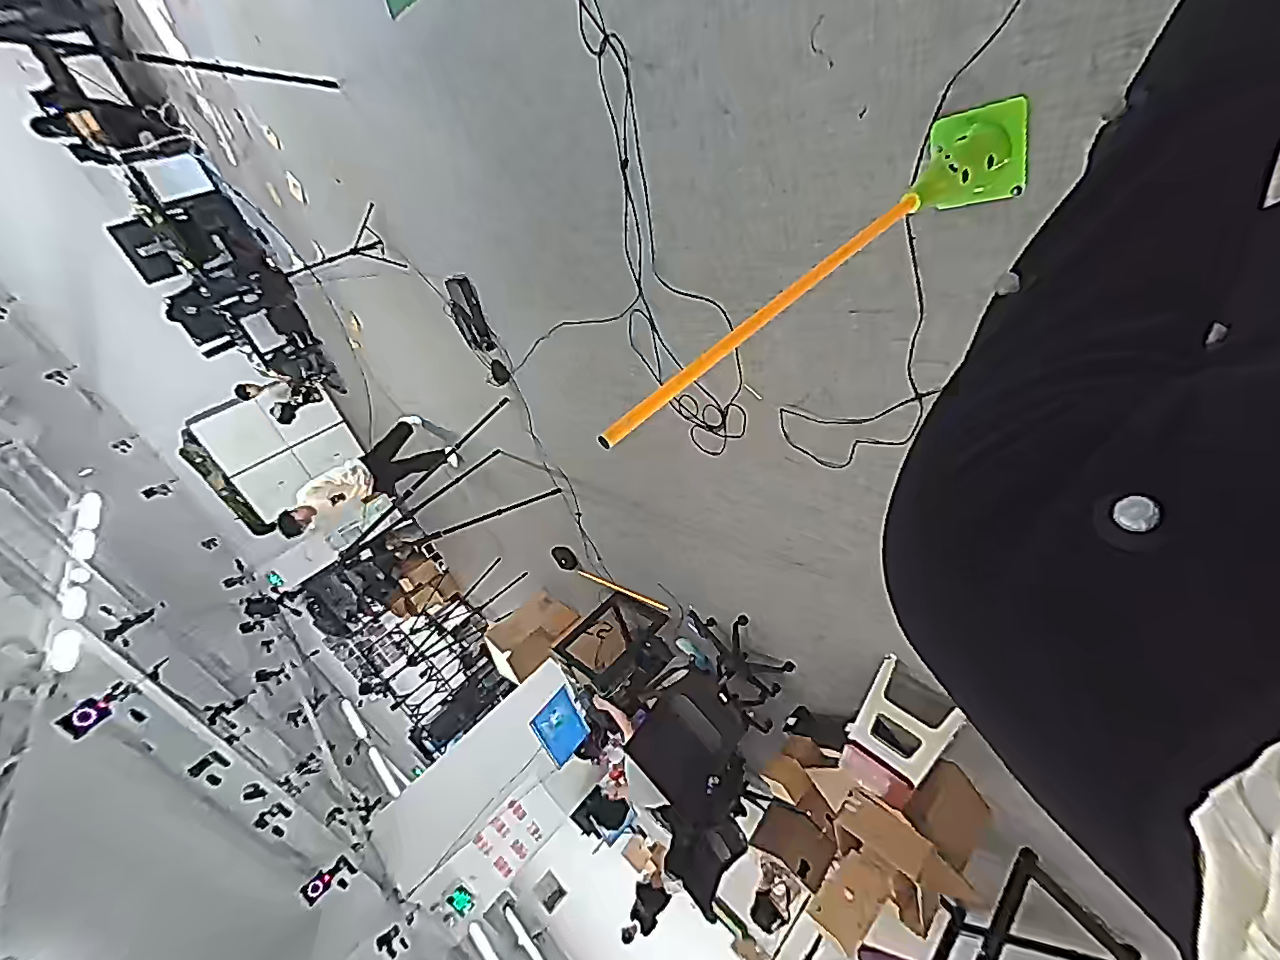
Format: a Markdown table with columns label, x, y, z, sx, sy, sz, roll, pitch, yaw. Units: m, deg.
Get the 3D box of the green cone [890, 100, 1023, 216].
| label | x | y | z | sx | sy | sz | roll | pitch | yaw |
| --- | --- | --- | --- | --- | --- | --- | --- | --- | --- |
| green cone | 0.662 | -0.664 | 1.190 | 0.202 | 0.368 | 0.200 | 16 | 135 | 49 |
